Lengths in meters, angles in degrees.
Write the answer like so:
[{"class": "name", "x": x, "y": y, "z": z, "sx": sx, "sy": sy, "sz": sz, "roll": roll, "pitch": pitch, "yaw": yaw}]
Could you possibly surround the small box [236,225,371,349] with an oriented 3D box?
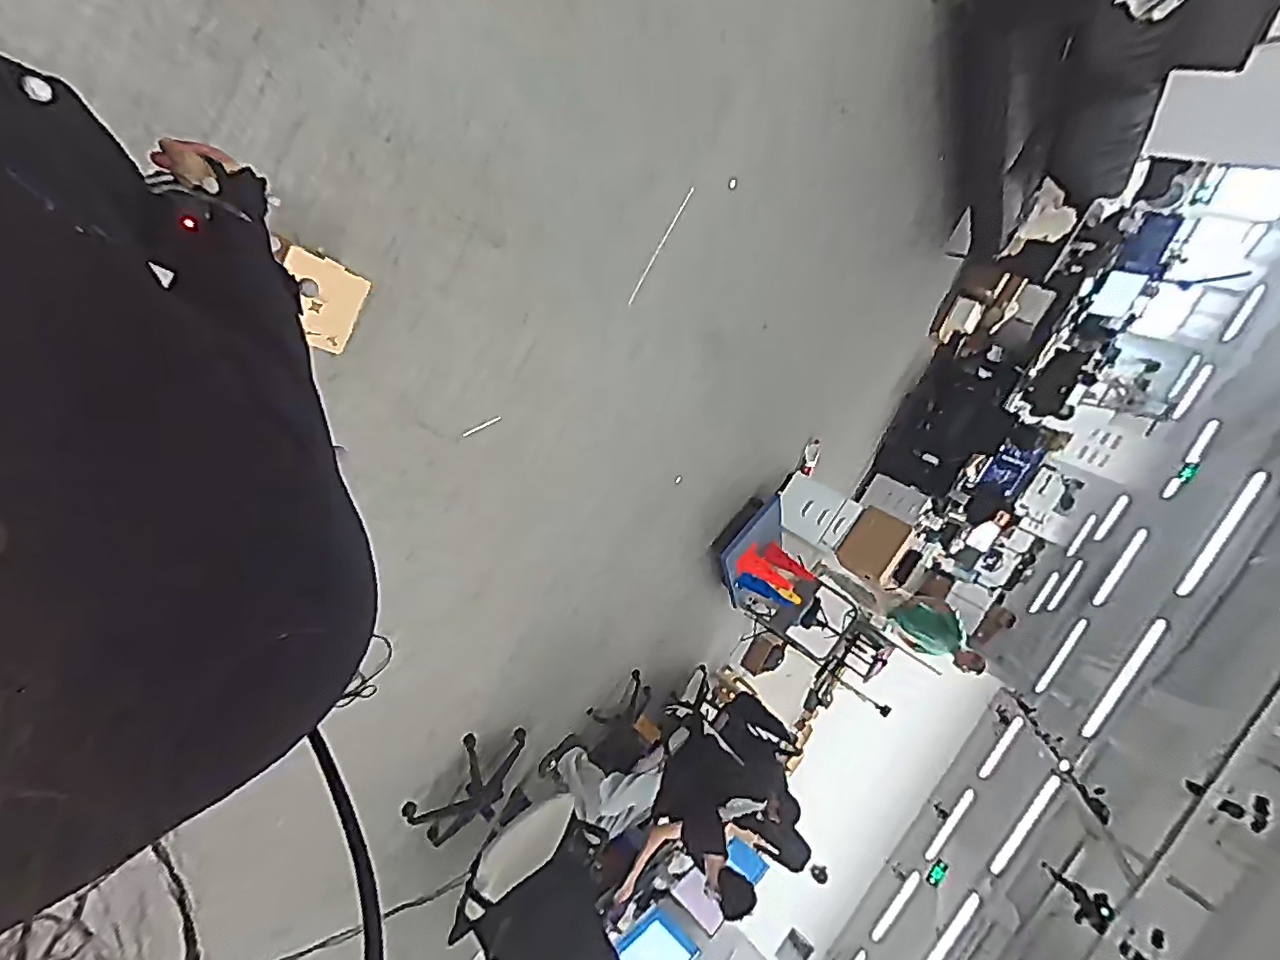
[{"class": "small box", "x": -0.713, "y": -0.407, "z": 1.139, "sx": 0.168, "sy": 0.176, "sz": 0.179, "roll": 16, "pitch": 103, "yaw": -57}]
